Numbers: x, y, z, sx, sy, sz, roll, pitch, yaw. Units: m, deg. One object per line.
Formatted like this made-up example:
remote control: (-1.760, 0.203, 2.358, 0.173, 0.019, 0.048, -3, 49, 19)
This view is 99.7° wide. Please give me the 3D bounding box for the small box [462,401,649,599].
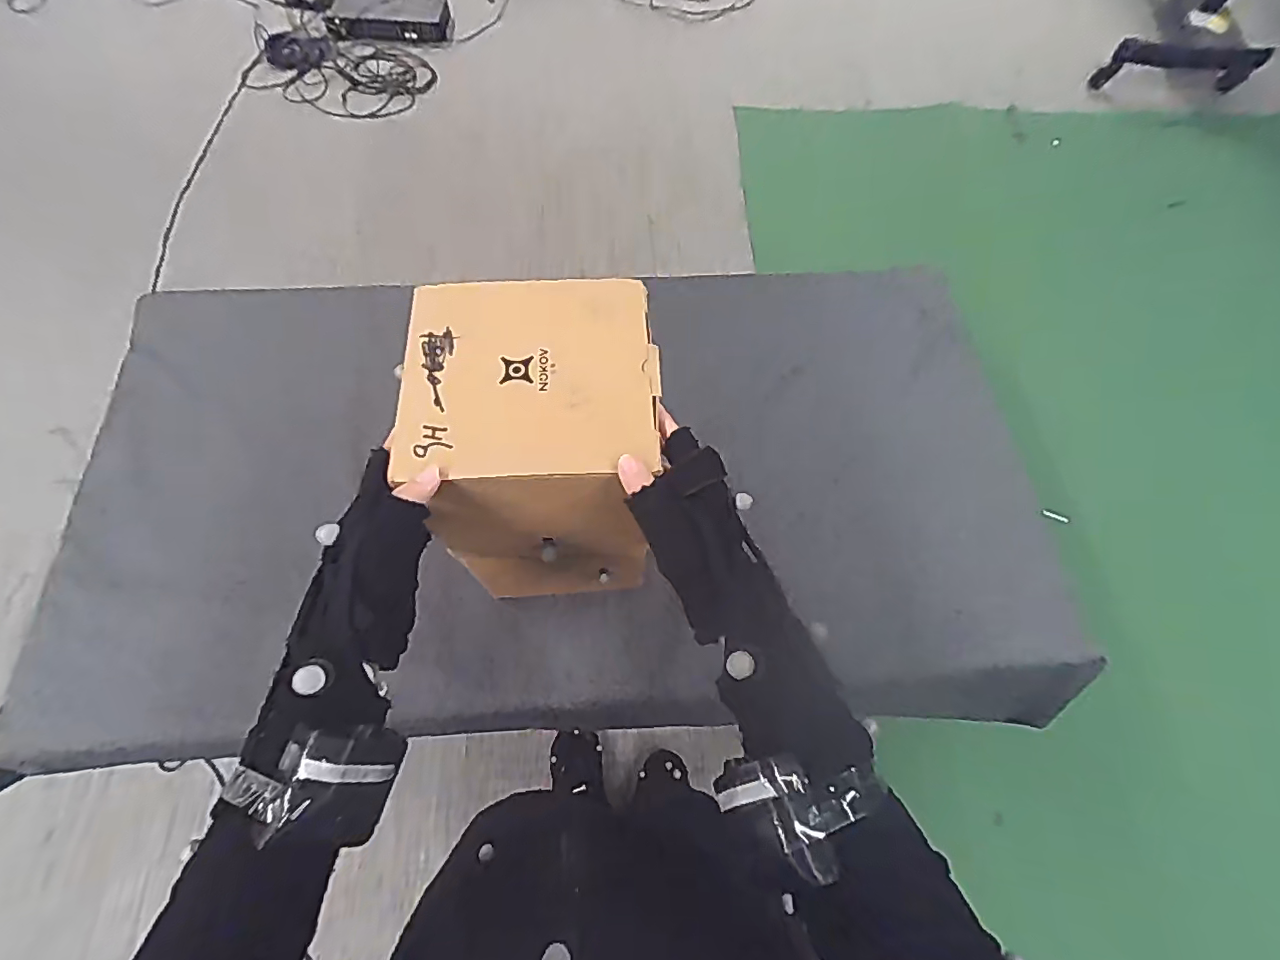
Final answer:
small box: (-0.088, 0.030, 0.608, 0.179, 0.176, 0.168, -5, 65, -3)
